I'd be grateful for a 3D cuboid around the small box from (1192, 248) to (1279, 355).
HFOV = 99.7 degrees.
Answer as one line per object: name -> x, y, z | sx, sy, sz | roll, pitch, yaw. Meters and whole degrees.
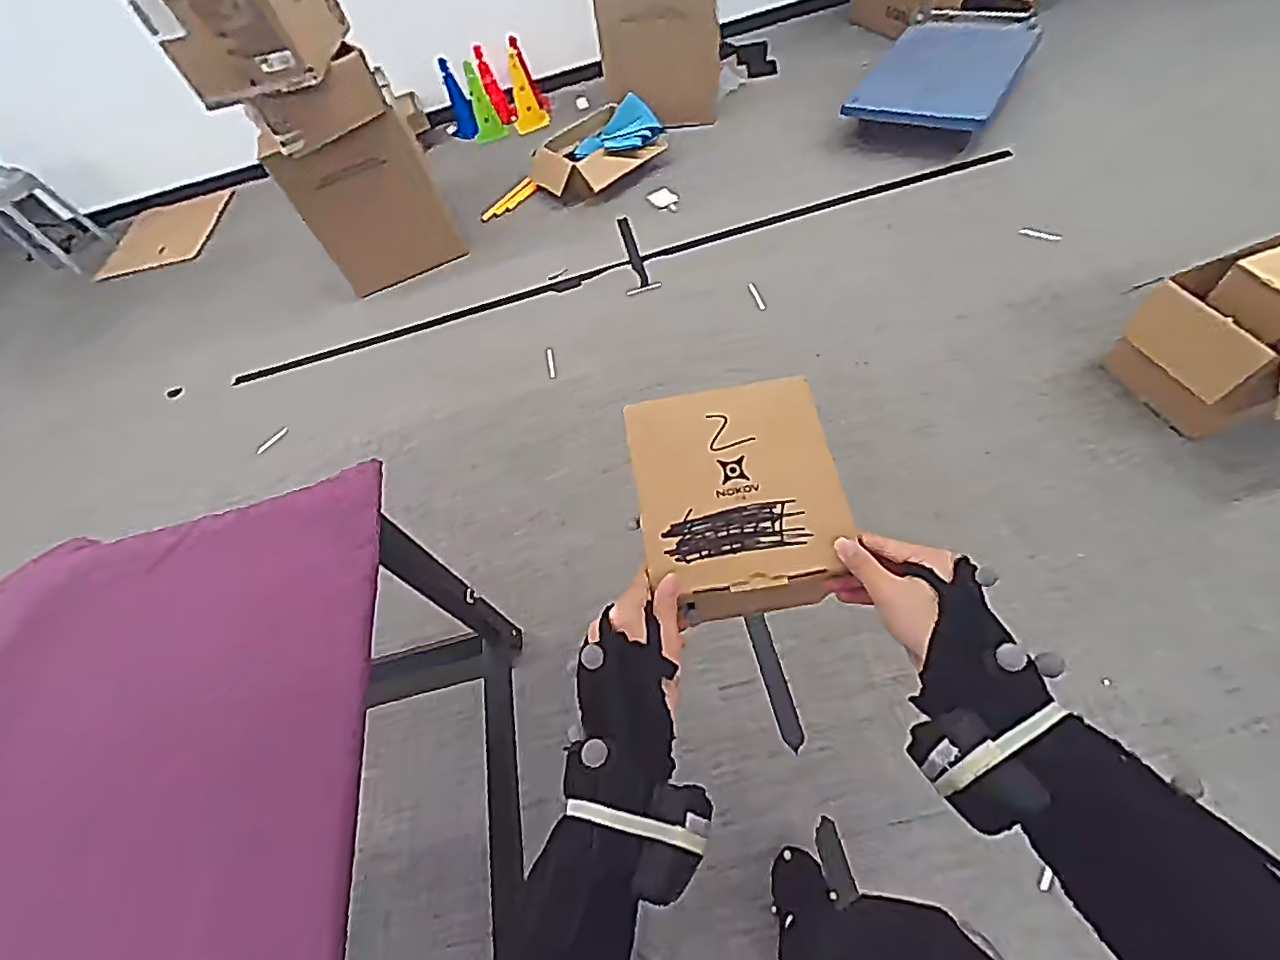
small box -> 1.520, -0.432, 1.302 | 0.179, 0.176, 0.168 | -19, 55, 0
